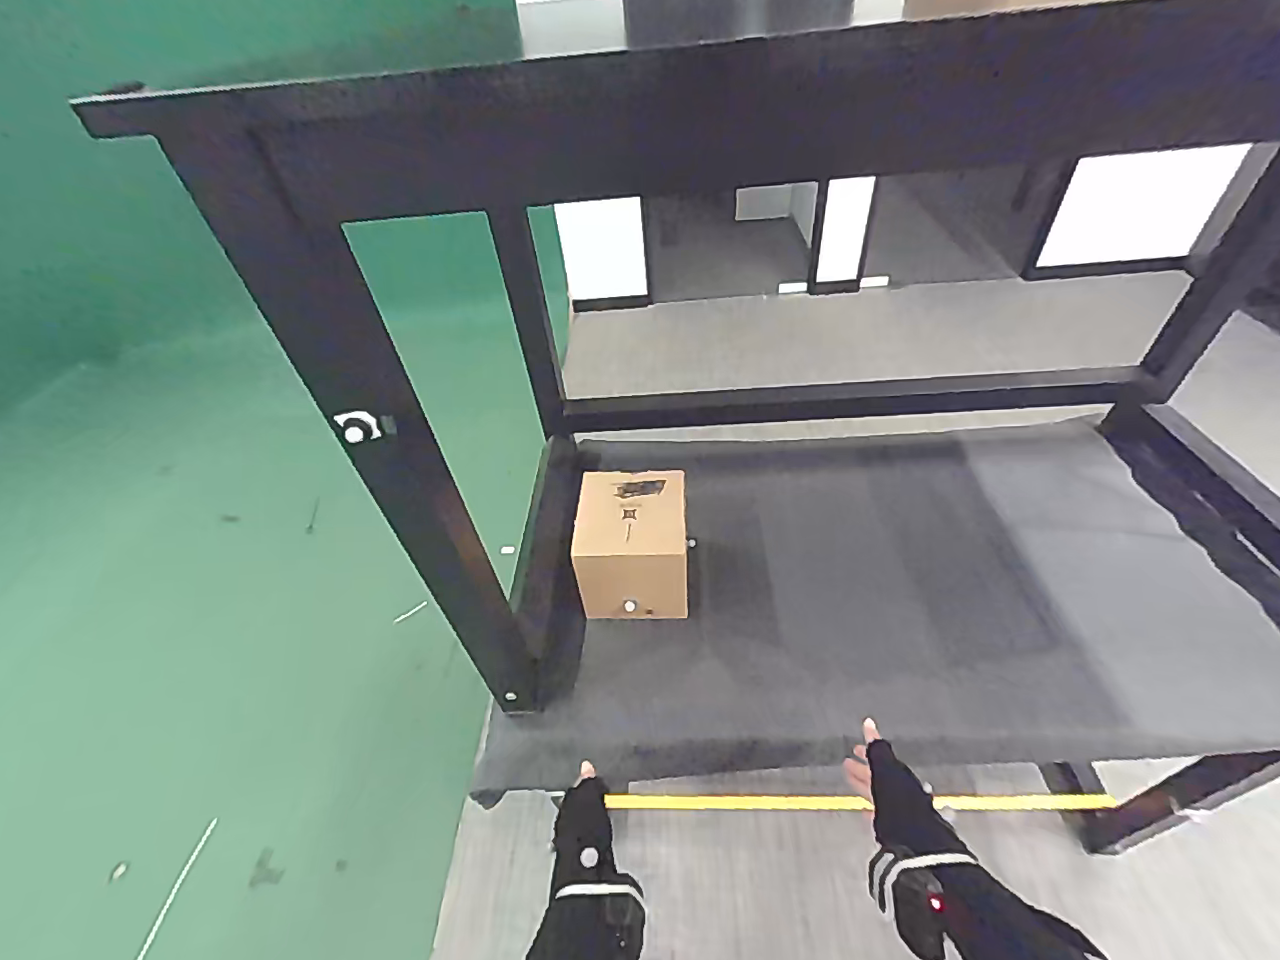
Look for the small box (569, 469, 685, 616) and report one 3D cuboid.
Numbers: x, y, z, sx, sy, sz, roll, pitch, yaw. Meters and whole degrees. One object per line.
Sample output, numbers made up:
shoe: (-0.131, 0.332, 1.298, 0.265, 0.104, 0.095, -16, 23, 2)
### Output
small box: (-0.012, 0.100, 0.879, 0.168, 0.176, 0.179, -1, 45, 5)
